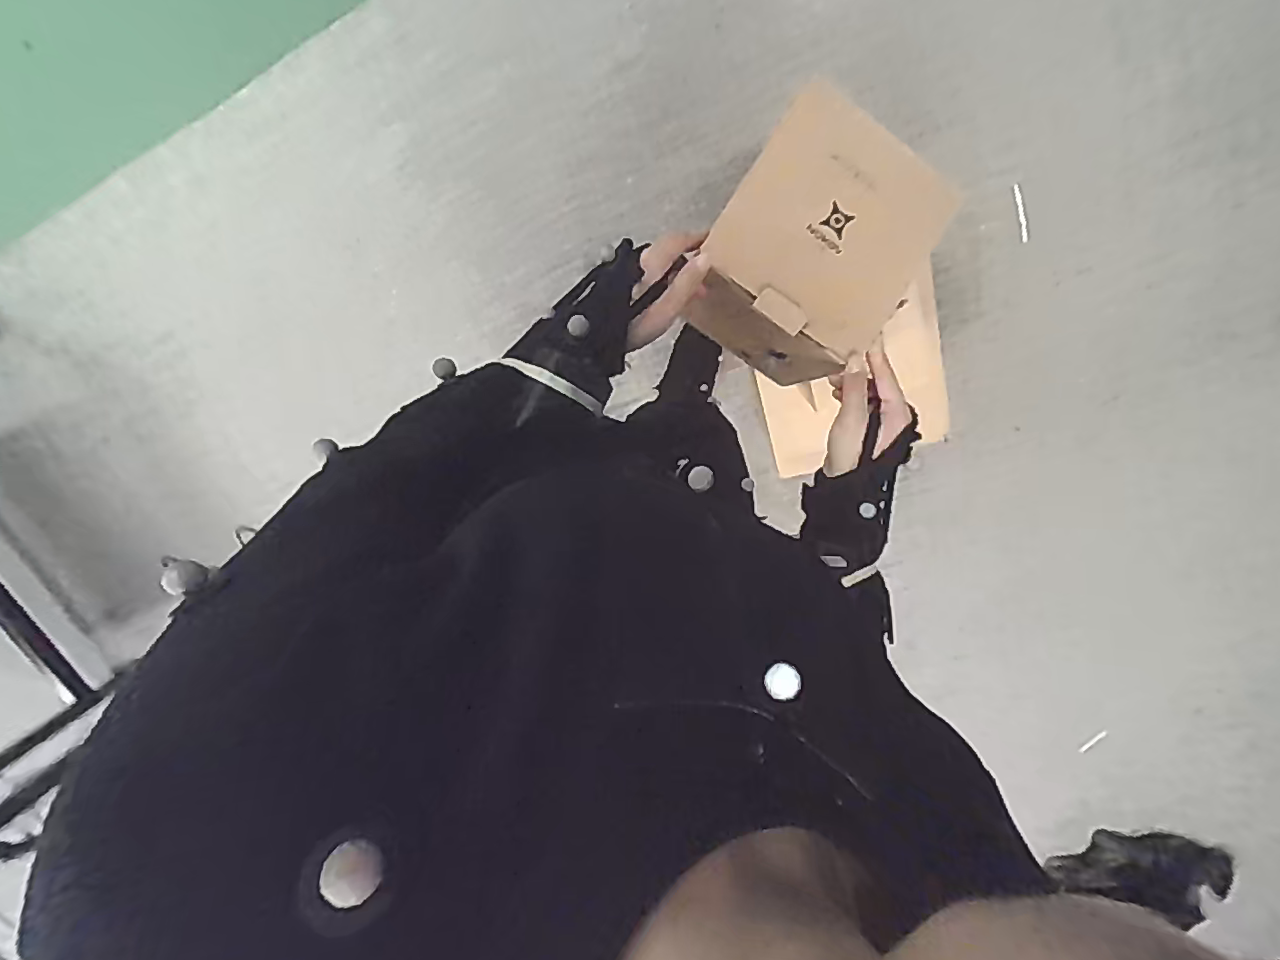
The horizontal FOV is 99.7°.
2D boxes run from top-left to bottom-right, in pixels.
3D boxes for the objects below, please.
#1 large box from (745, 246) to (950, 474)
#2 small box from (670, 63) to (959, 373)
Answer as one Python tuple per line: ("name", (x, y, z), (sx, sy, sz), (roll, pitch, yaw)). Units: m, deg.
("large box", (0.372, -0.279, 1.080), (0.320, 0.320, 0.408), (-14, 109, 13))
("small box", (0.142, -0.219, 0.513), (0.168, 0.176, 0.179), (32, 91, -9))
